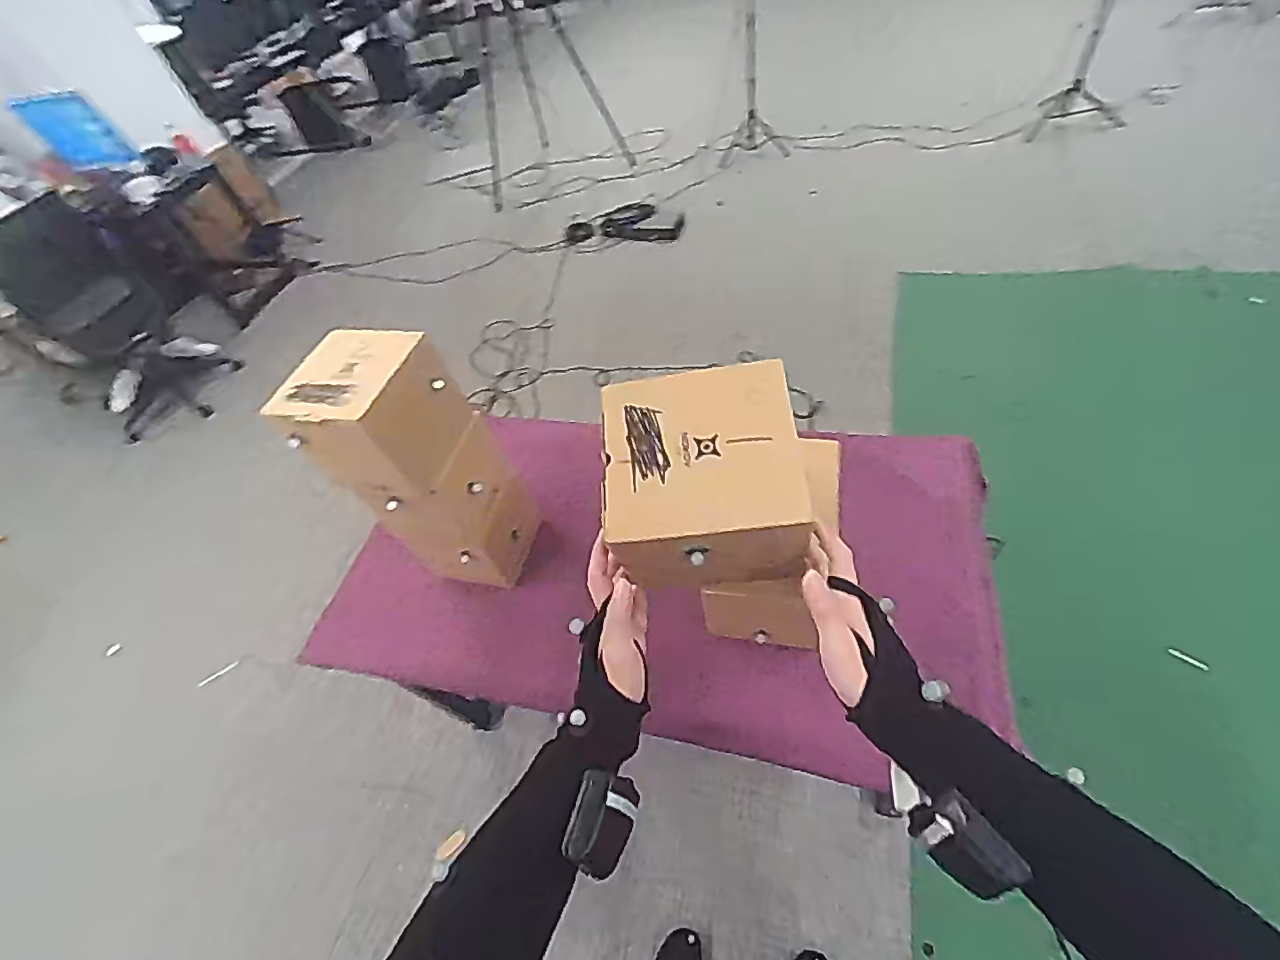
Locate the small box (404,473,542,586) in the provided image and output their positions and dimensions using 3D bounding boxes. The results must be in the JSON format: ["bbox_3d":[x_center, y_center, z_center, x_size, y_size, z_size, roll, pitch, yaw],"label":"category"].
[{"bbox_3d":[-0.315,0.093,1.065,0.179,0.176,0.168,5,54,17],"label":"small box"}]

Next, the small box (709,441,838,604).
[{"bbox_3d":[0.179,0.060,0.763,0.179,0.176,0.168,5,55,17],"label":"small box"}]

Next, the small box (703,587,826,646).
[{"bbox_3d":[0.208,0.159,0.890,0.179,0.176,0.168,4,53,16],"label":"small box"}]

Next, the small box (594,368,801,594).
[{"bbox_3d":[0.060,0.013,0.553,0.179,0.176,0.168,-8,64,9],"label":"small box"}]

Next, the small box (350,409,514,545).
[{"bbox_3d":[-0.345,-0.002,0.937,0.179,0.176,0.168,5,55,17],"label":"small box"}]
